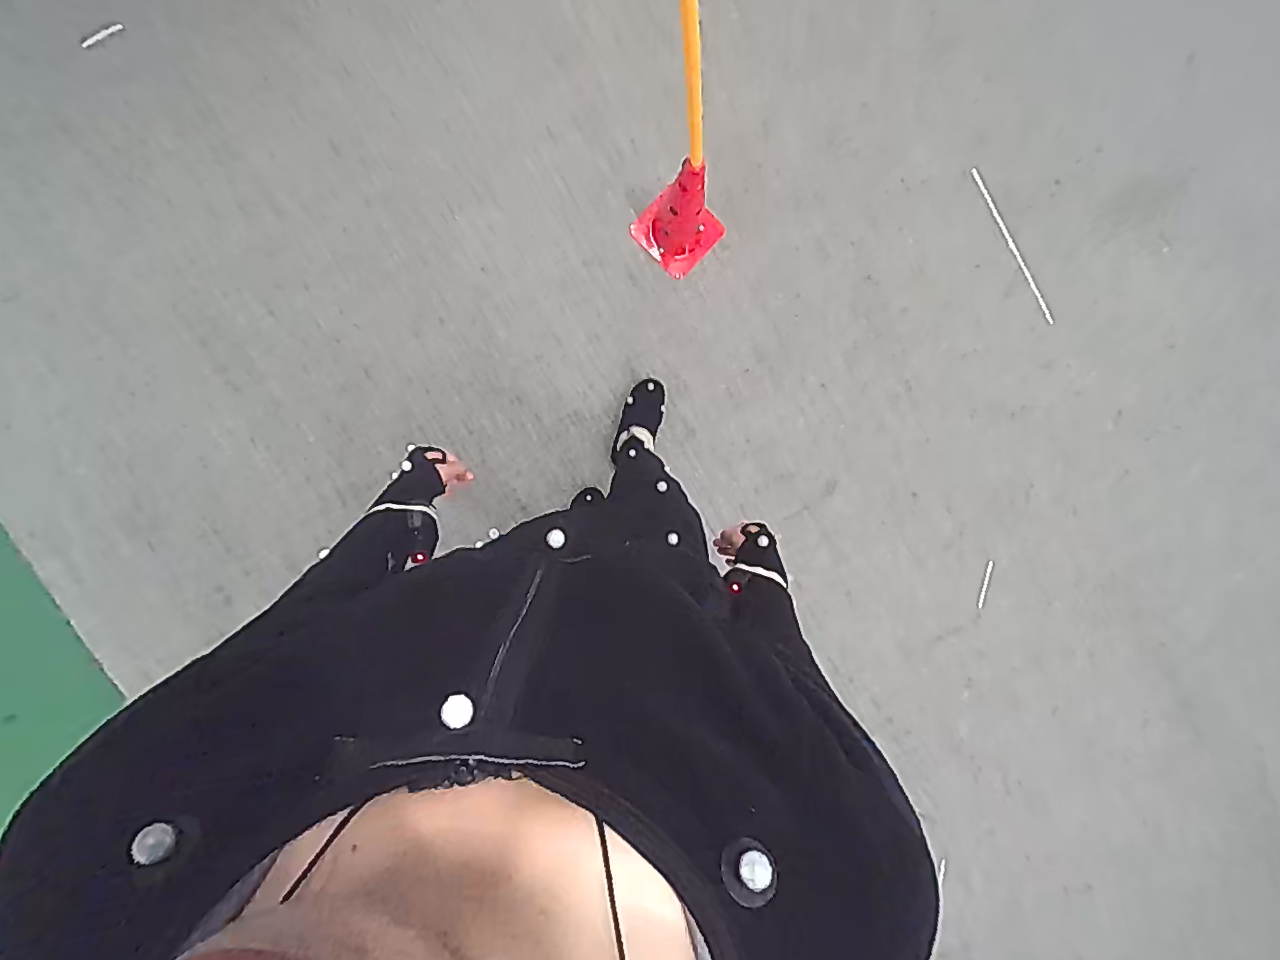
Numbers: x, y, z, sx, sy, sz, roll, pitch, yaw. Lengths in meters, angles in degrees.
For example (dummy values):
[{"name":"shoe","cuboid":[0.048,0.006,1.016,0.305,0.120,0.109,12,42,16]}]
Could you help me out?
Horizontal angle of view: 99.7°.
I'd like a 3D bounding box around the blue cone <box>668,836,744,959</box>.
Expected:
[{"name":"blue cone","cuboid":[0.205,1.132,1.395,0.193,0.380,0.192,14,91,-7]}]
